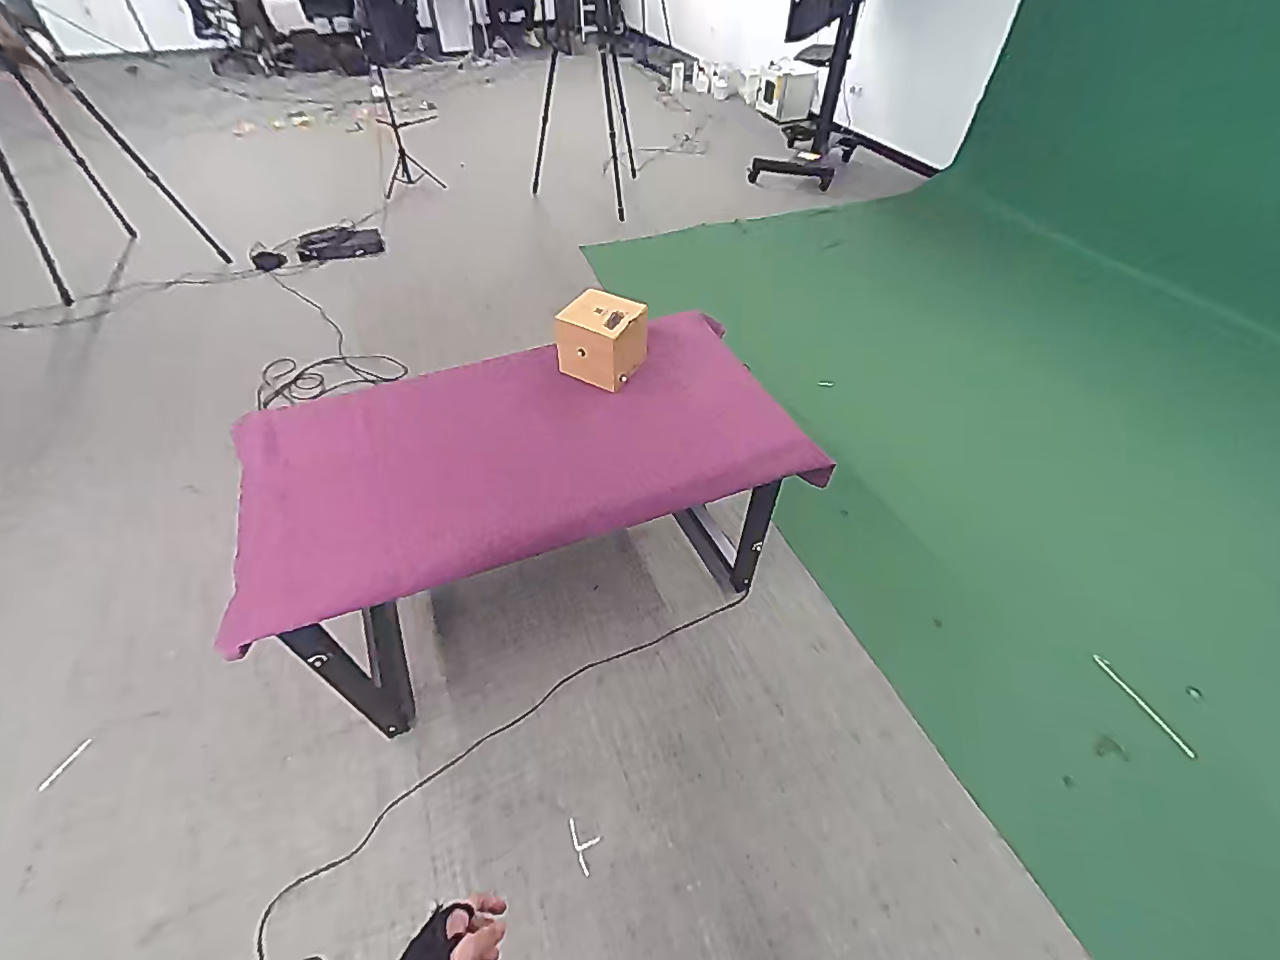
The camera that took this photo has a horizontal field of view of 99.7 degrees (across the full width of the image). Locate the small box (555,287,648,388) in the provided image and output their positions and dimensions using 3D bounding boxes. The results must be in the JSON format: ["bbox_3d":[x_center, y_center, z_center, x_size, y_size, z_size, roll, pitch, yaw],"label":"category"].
[{"bbox_3d":[-0.094,-0.361,1.388,0.179,0.176,0.168,24,53,19],"label":"small box"}]
